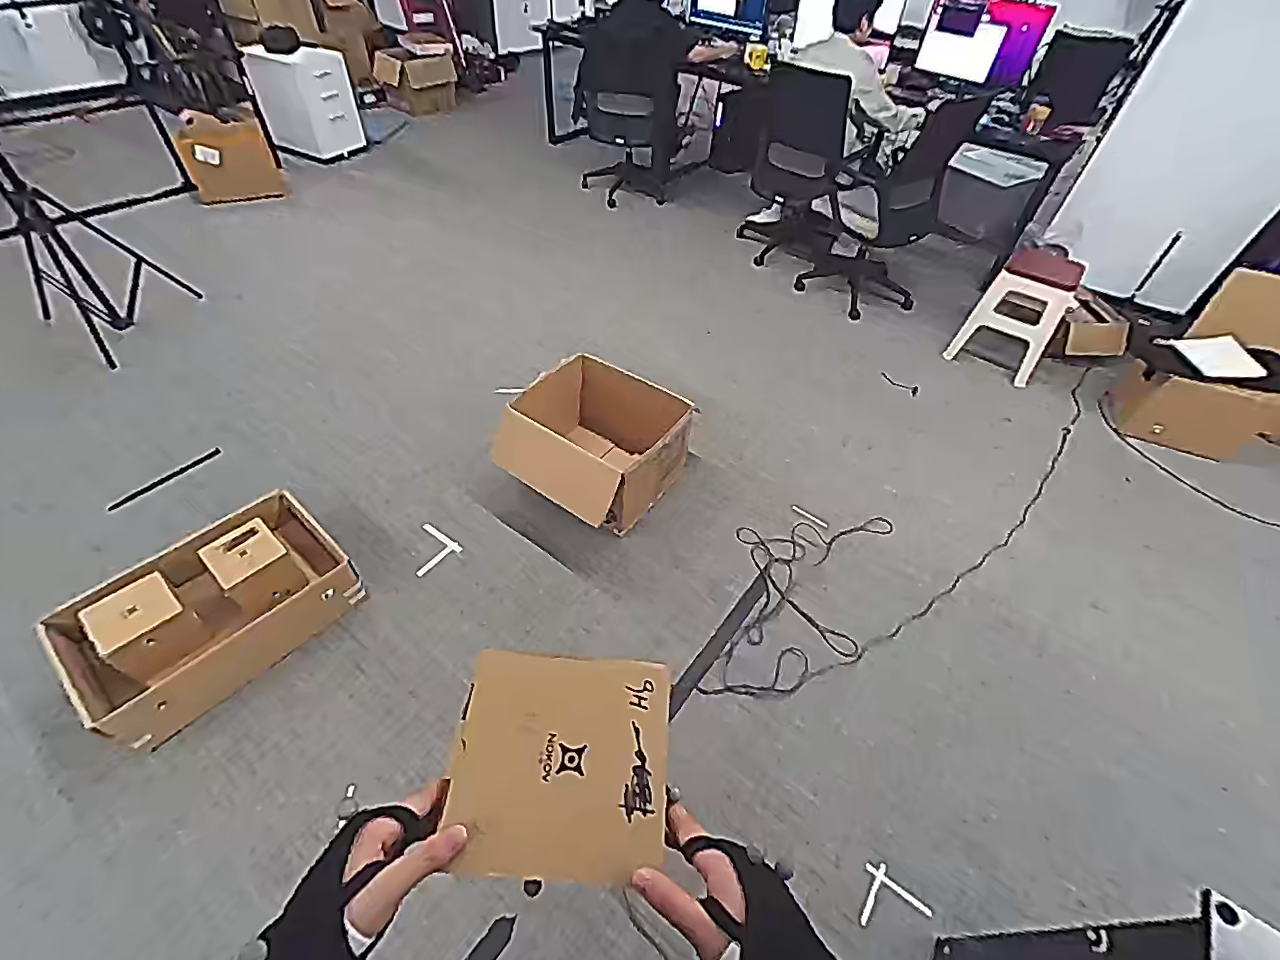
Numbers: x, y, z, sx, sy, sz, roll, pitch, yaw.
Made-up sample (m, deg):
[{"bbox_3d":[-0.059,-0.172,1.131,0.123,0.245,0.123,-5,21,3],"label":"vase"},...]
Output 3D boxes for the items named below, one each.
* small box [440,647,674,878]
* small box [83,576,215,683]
[{"bbox_3d":[-0.062,0.272,0.517,0.179,0.176,0.168,4,55,1],"label":"small box"},{"bbox_3d":[-1.274,0.393,1.414,0.168,0.176,0.179,36,53,23],"label":"small box"}]
